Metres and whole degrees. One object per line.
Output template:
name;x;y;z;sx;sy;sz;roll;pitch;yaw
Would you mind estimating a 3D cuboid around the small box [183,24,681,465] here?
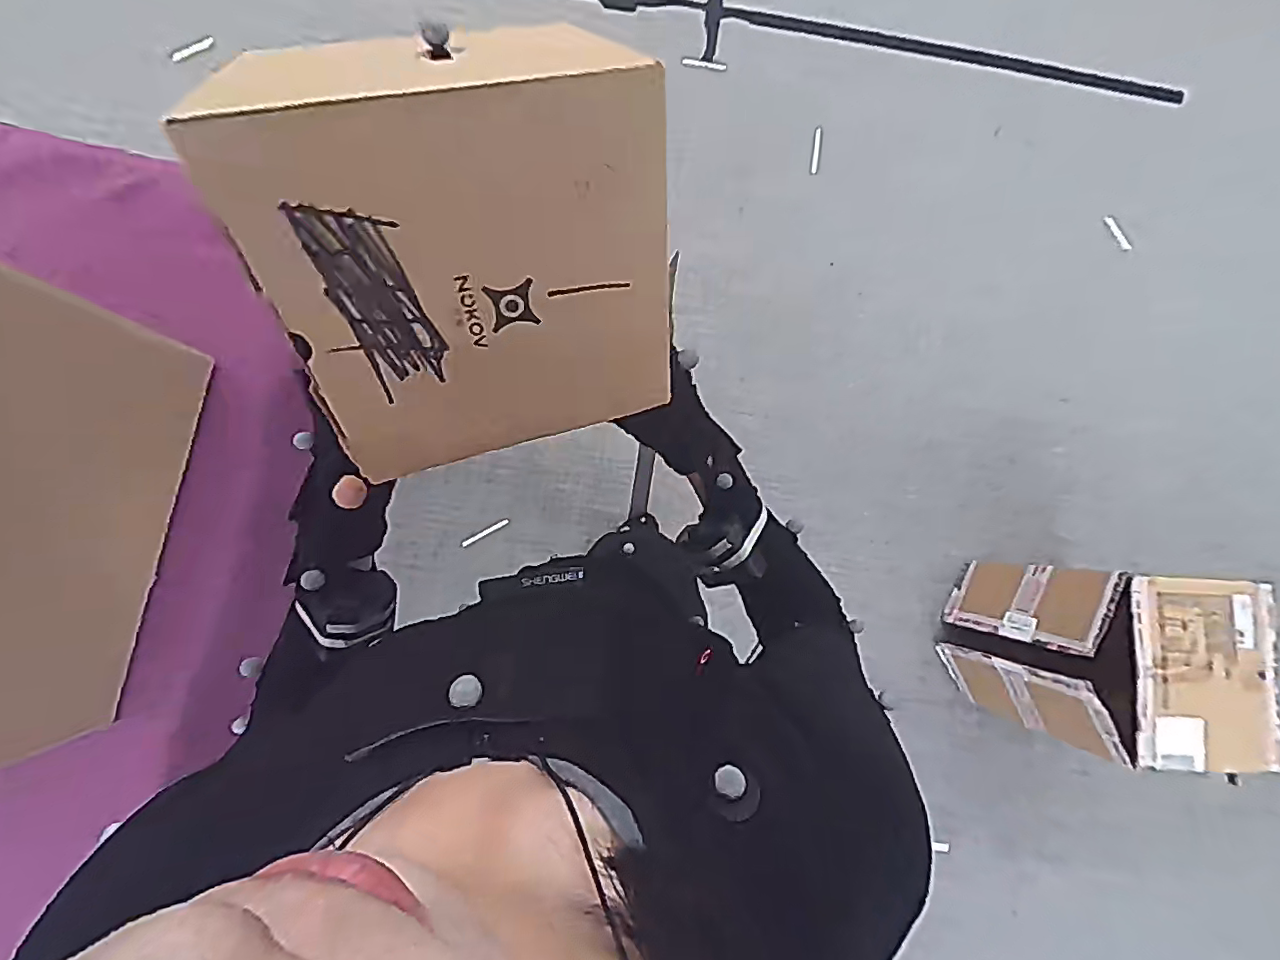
small box;-0.091;-0.139;0.300;0.179;0.168;0.176;-15;46;-14
